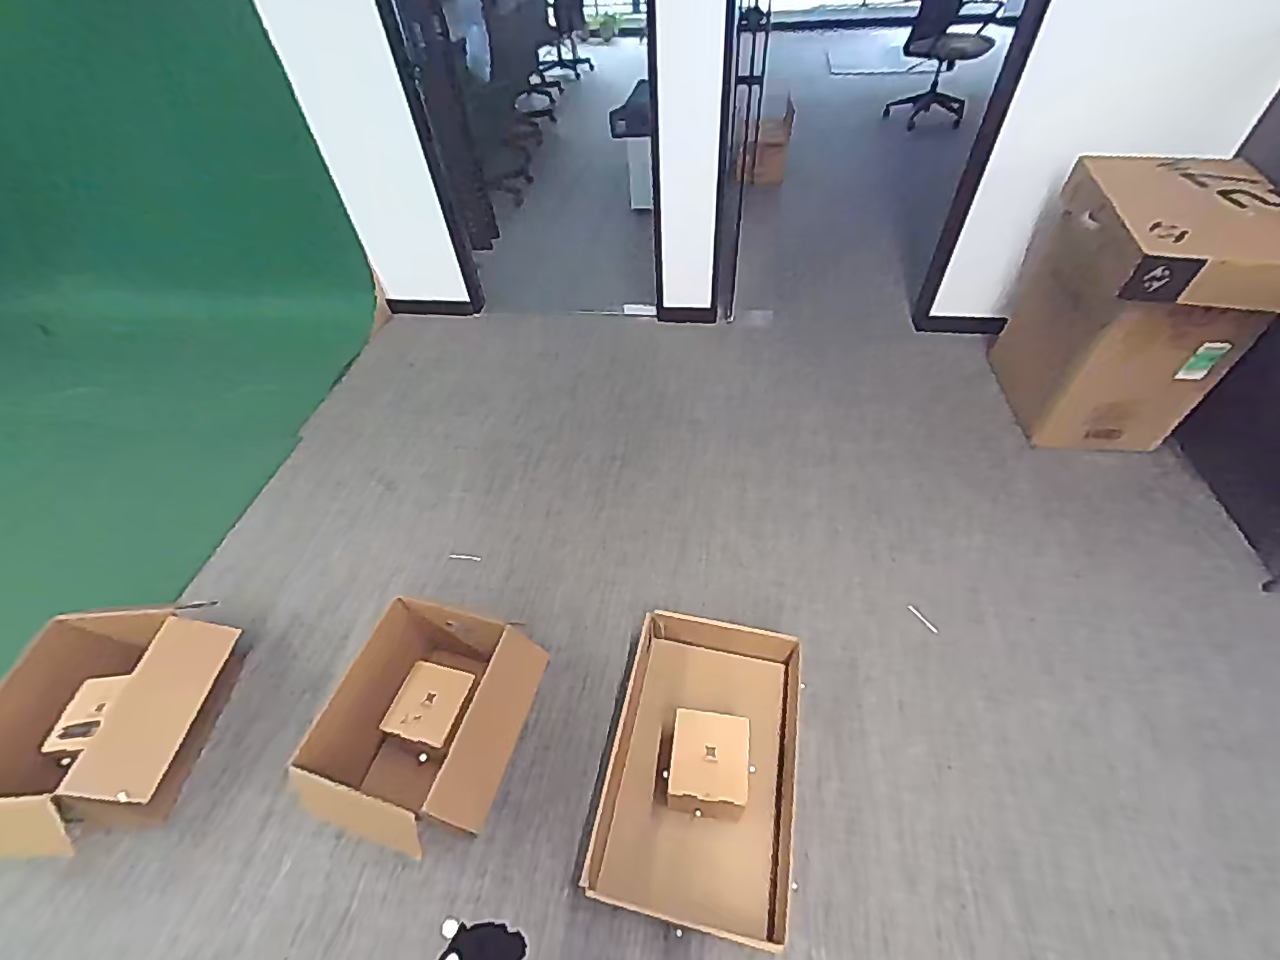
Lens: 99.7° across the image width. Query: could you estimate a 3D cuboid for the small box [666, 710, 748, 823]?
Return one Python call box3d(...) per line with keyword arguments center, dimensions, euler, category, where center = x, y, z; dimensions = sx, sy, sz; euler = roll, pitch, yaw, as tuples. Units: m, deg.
box3d(center=(0.149, 0.644, 1.214), dimensions=(0.168, 0.176, 0.179), euler=(5, 49, 7), category="small box")
